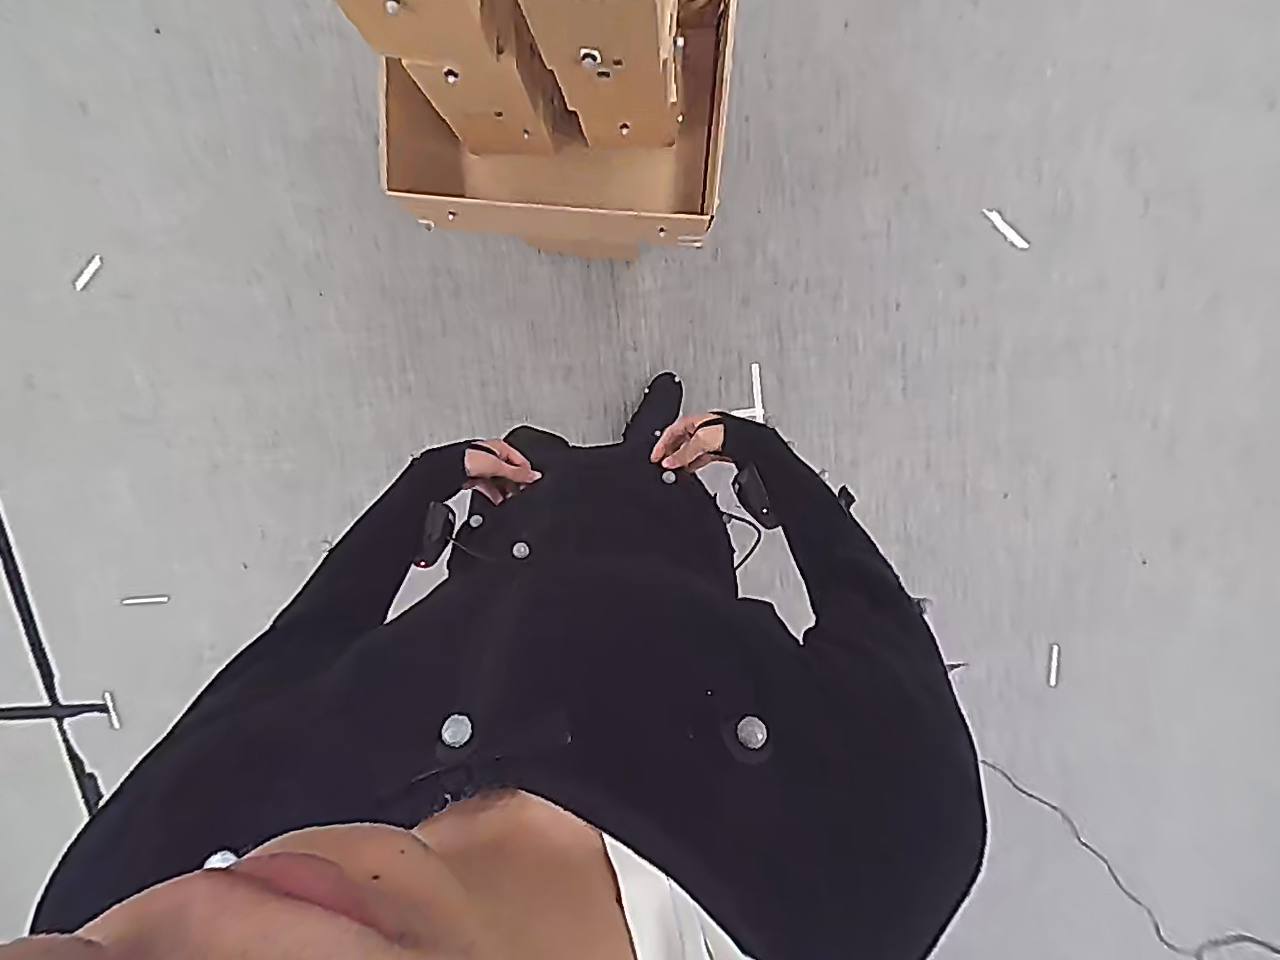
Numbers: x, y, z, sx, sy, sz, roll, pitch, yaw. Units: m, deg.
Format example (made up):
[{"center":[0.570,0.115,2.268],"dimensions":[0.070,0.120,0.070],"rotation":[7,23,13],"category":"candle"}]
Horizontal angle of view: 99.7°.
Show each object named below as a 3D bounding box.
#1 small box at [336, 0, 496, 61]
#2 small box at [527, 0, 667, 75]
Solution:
[{"center":[-0.280,-0.662,0.674],"dimensions":[0.179,0.176,0.168],"rotation":[4,100,-1],"category":"small box"},{"center":[-0.050,-0.646,0.667],"dimensions":[0.168,0.176,0.179],"rotation":[3,100,3],"category":"small box"}]
